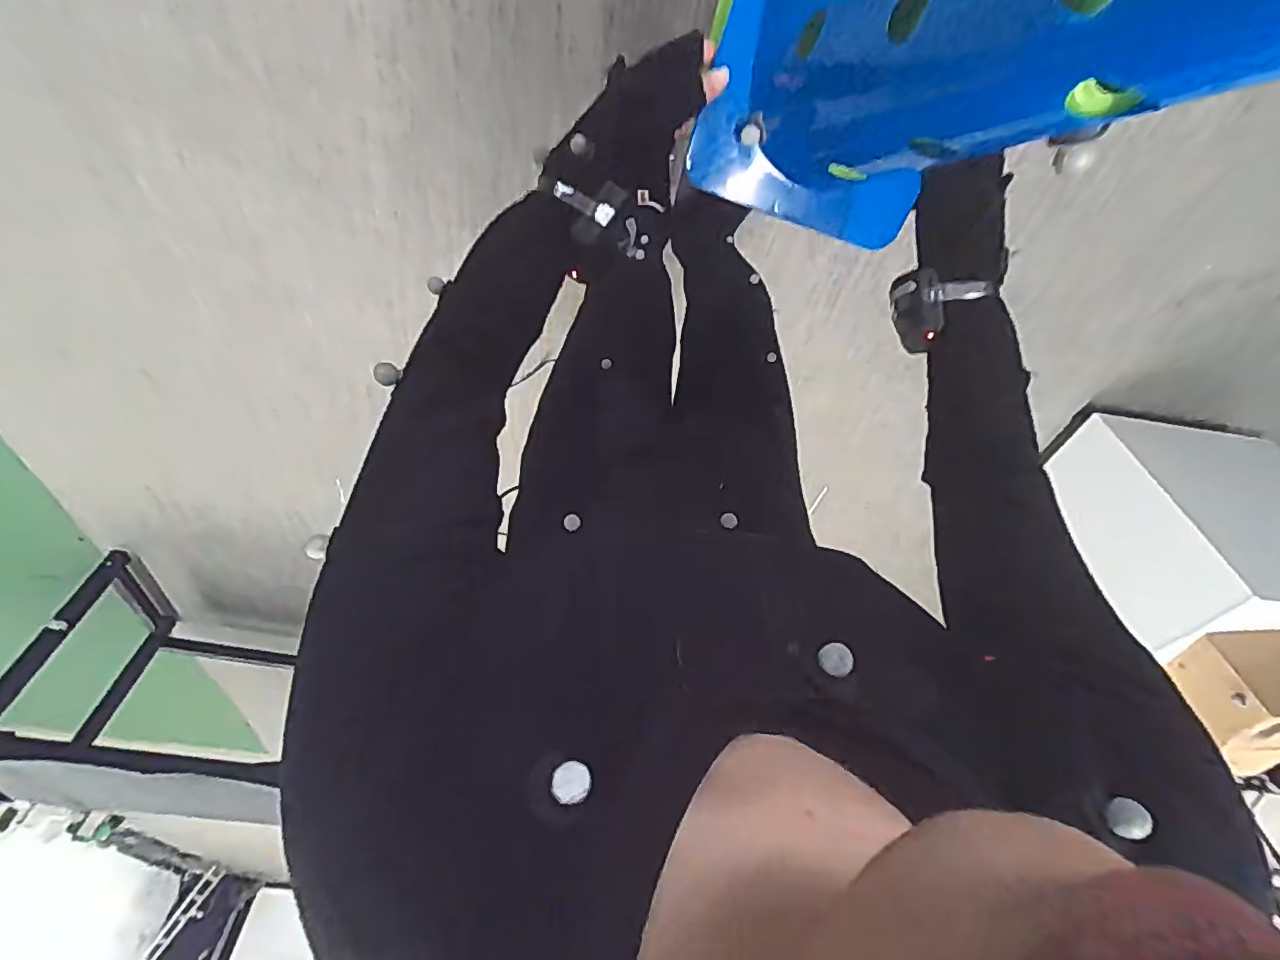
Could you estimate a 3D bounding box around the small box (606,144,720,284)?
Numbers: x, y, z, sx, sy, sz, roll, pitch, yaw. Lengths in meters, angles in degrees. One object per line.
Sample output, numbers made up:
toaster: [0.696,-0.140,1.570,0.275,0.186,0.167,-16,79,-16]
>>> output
small box: [0.035,-0.523,1.069,0.168,0.176,0.179,4,139,-20]
